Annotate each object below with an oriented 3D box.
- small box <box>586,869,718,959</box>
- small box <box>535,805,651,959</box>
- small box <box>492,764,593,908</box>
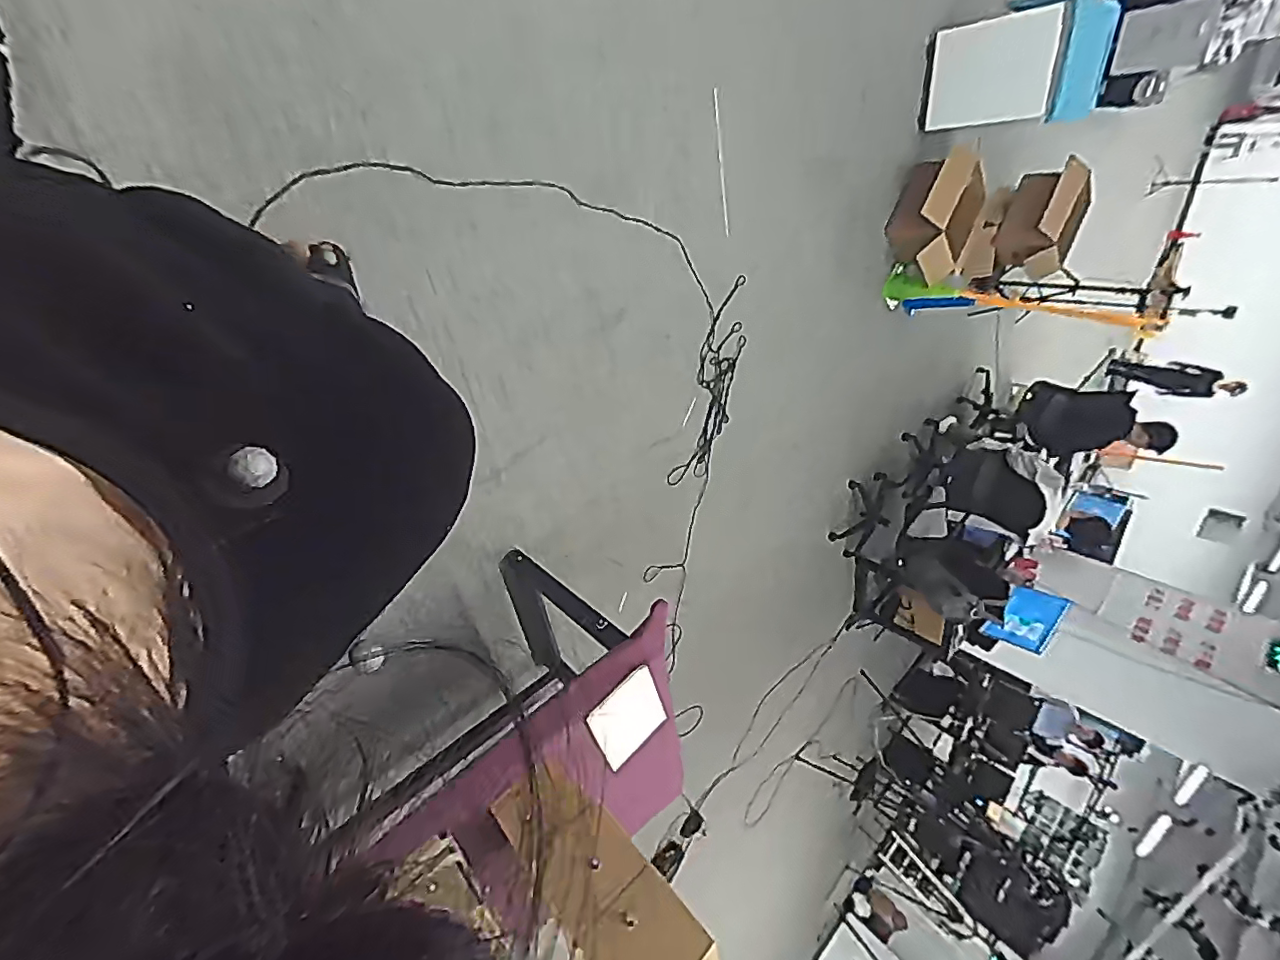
[{"bbox_3d":[0.020,0.852,0.954,0.179,0.176,0.168,-30,128,-31],"label":"small box"},{"bbox_3d":[-0.089,0.801,1.066,0.179,0.176,0.168,-30,128,-32],"label":"small box"},{"bbox_3d":[-0.201,0.761,1.180,0.168,0.176,0.179,-30,128,-31],"label":"small box"}]
